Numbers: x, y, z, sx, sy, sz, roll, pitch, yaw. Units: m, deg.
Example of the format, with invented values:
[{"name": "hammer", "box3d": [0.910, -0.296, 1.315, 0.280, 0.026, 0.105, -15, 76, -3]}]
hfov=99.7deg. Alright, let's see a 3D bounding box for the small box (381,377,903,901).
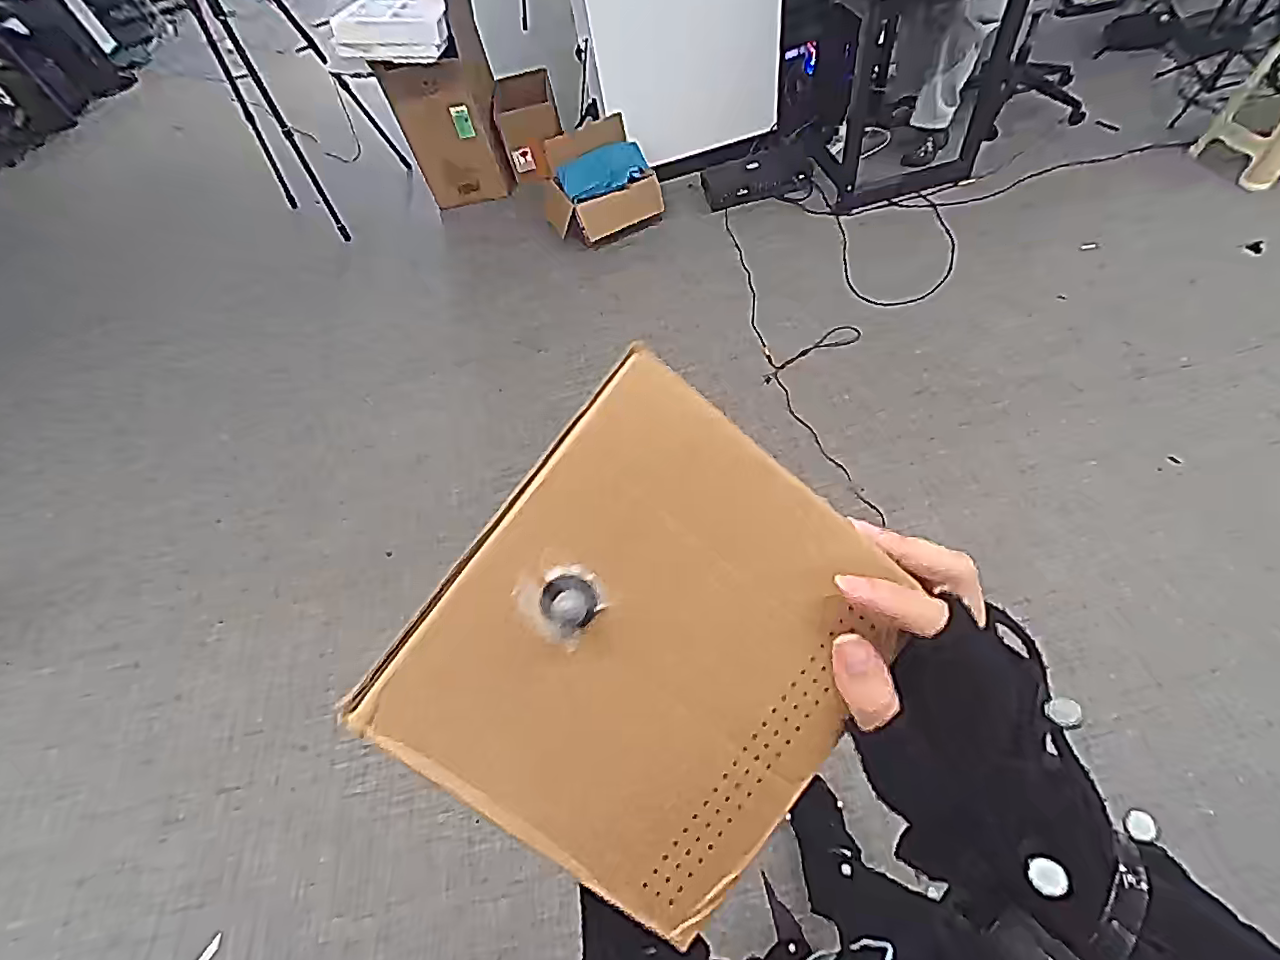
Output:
[{"name": "small box", "box3d": [0.002, 0.073, 0.304, 0.176, 0.168, 0.179, 39, 85, -9]}]
